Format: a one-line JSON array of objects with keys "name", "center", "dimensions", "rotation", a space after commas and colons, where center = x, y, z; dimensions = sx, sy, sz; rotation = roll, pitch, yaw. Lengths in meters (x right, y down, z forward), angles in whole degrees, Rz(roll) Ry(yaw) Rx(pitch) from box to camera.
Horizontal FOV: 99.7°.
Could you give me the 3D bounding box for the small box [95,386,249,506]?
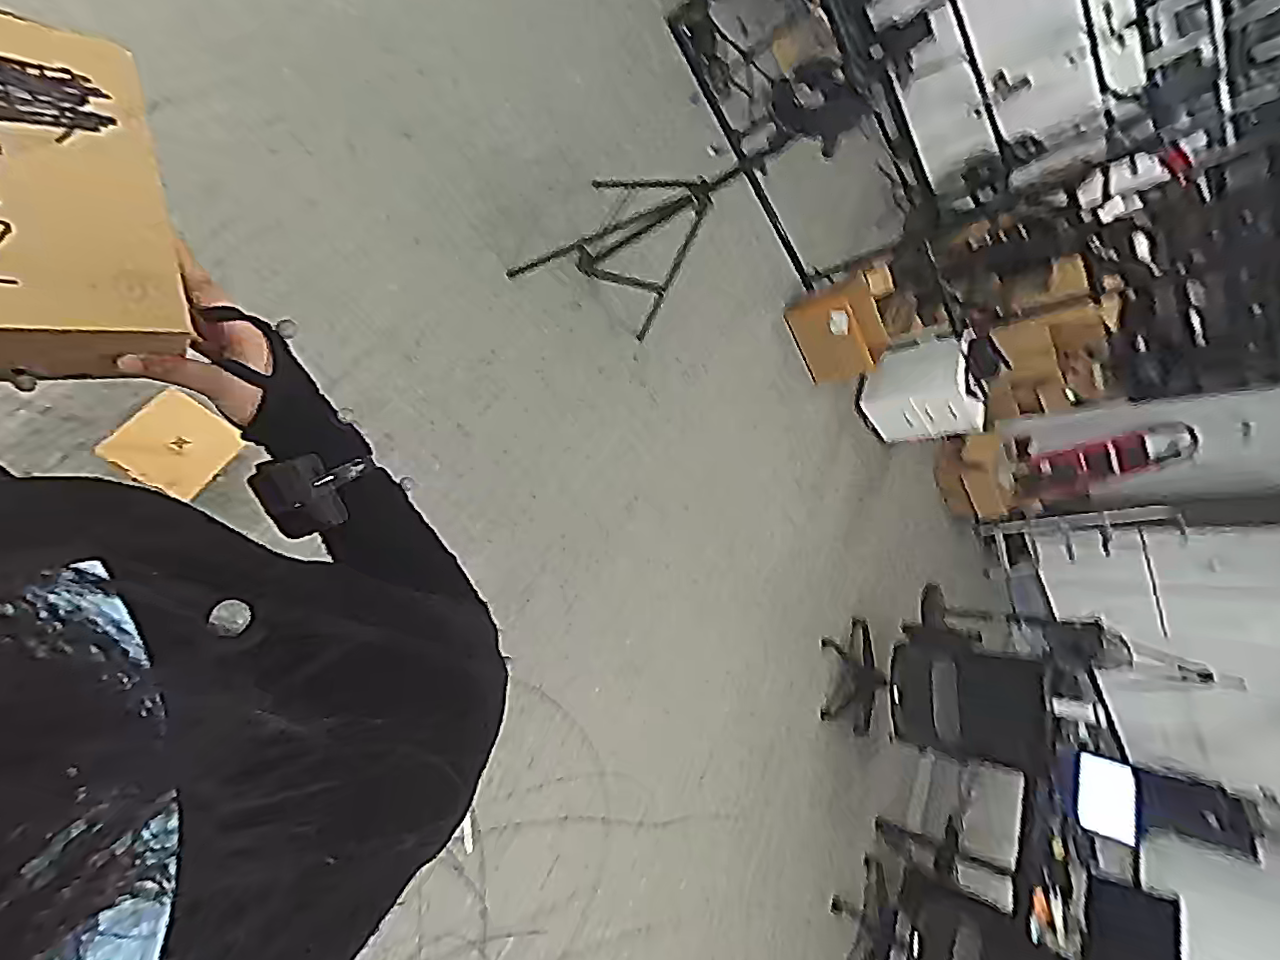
[{"name": "small box", "center": [-0.960, -0.062, 1.112], "dimensions": [0.168, 0.176, 0.179], "rotation": [46, 57, -29]}]
